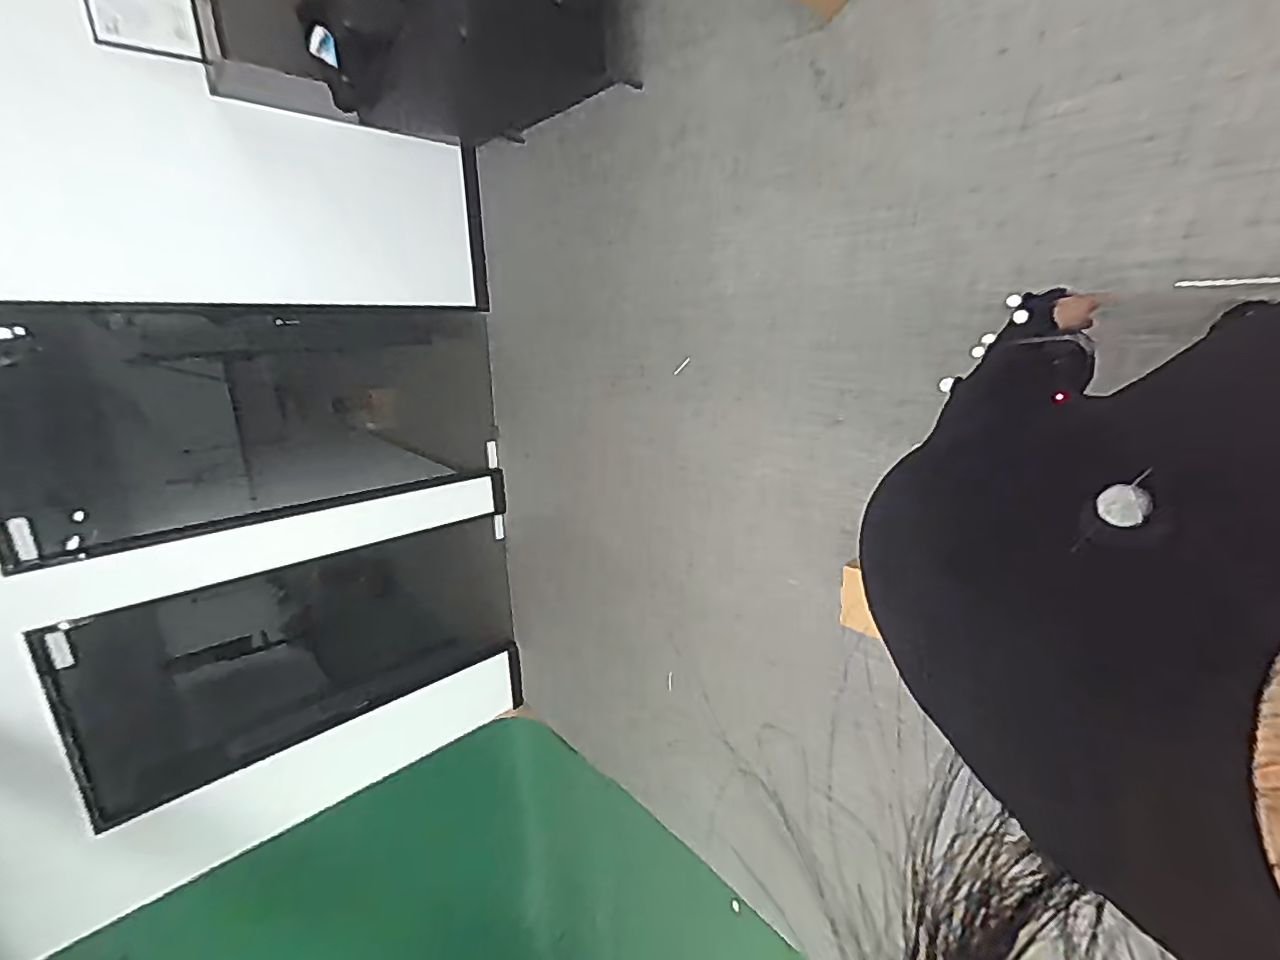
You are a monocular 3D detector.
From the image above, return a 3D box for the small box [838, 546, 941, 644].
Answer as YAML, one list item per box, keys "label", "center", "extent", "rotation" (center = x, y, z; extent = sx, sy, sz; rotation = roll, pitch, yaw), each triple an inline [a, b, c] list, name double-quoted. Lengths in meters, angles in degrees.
- label: "small box"
  center: [0.622, 0.276, 1.351]
  extent: [0.179, 0.176, 0.168]
  rotation: [13, 112, 45]
